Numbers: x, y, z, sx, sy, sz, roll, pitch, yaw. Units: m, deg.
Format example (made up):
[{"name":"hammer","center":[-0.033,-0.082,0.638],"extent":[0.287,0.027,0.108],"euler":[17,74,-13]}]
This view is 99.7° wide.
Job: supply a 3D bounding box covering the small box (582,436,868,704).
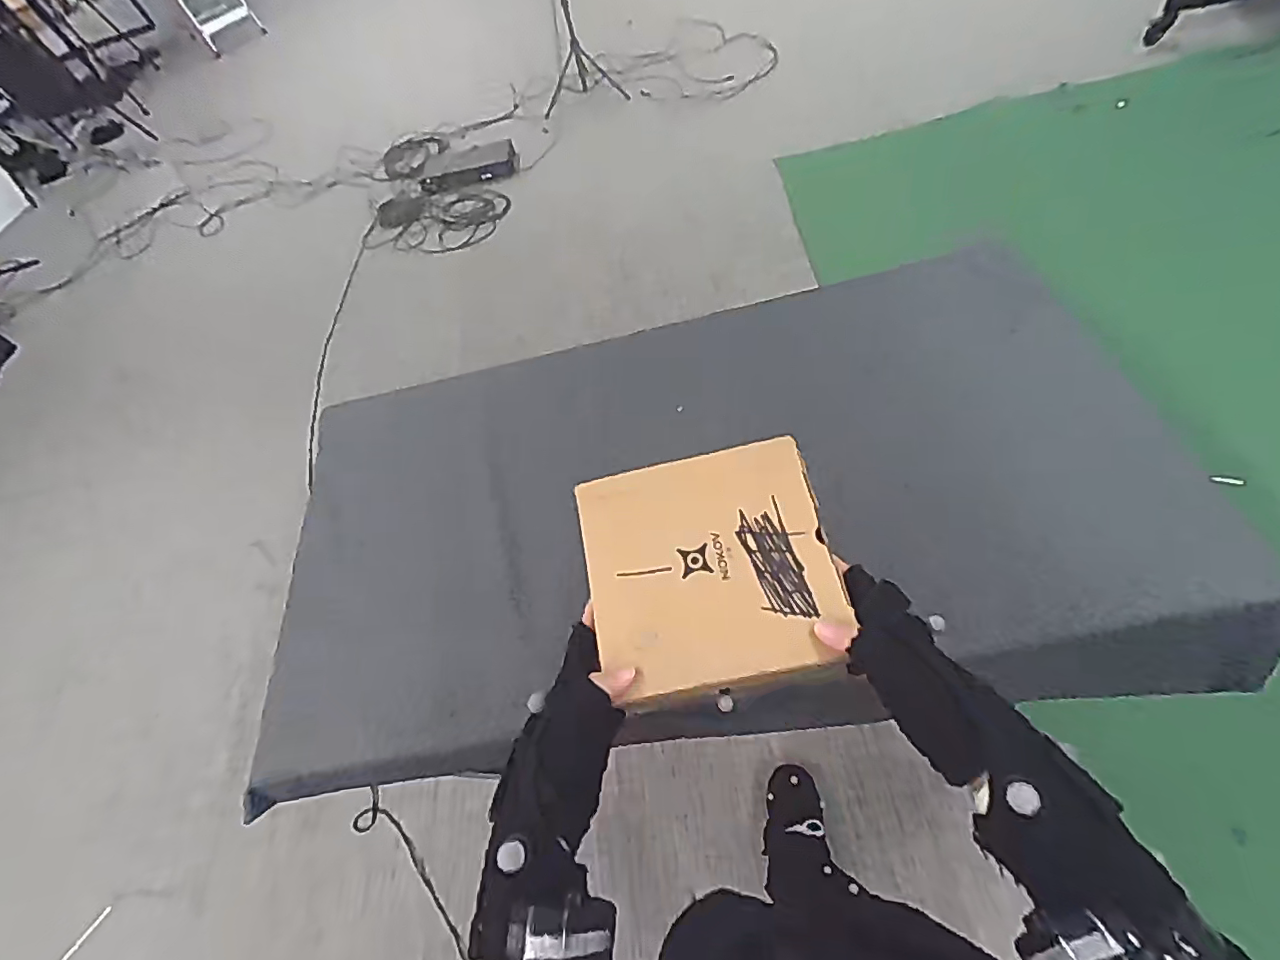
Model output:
[{"name":"small box","center":[0.062,0.088,0.471],"extent":[0.179,0.176,0.168],"euler":[-15,65,-1]}]
